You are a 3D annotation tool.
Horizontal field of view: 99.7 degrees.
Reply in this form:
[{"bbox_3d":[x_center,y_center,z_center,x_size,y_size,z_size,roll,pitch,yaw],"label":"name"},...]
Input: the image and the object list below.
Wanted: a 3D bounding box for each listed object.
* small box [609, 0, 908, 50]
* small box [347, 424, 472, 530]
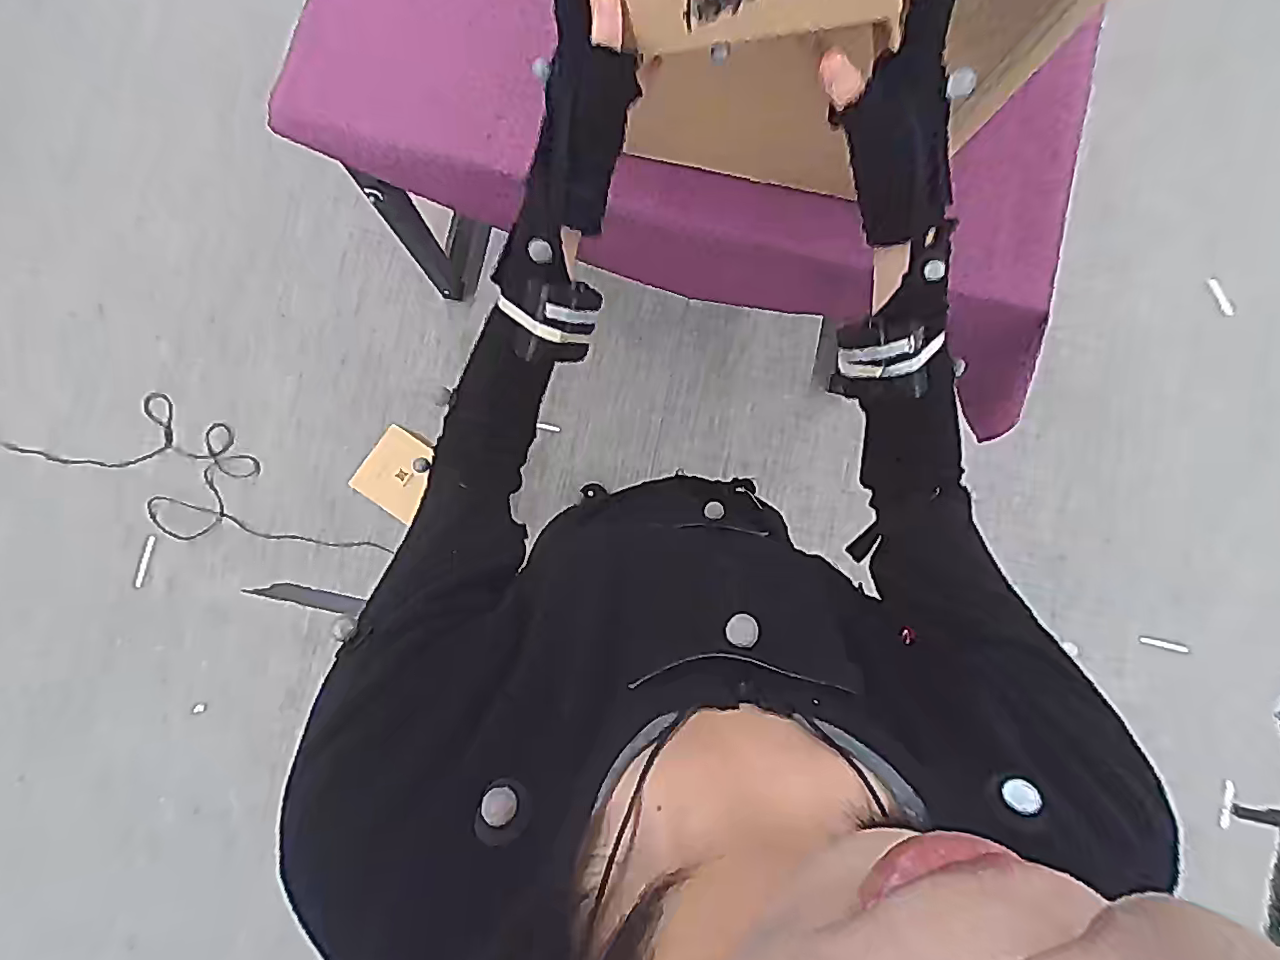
[{"bbox_3d":[0.066,-0.373,0.297,0.168,0.179,0.176,2,49,15],"label":"small box"},{"bbox_3d":[-0.516,-0.003,1.241,0.179,0.176,0.168,34,84,0],"label":"small box"}]
